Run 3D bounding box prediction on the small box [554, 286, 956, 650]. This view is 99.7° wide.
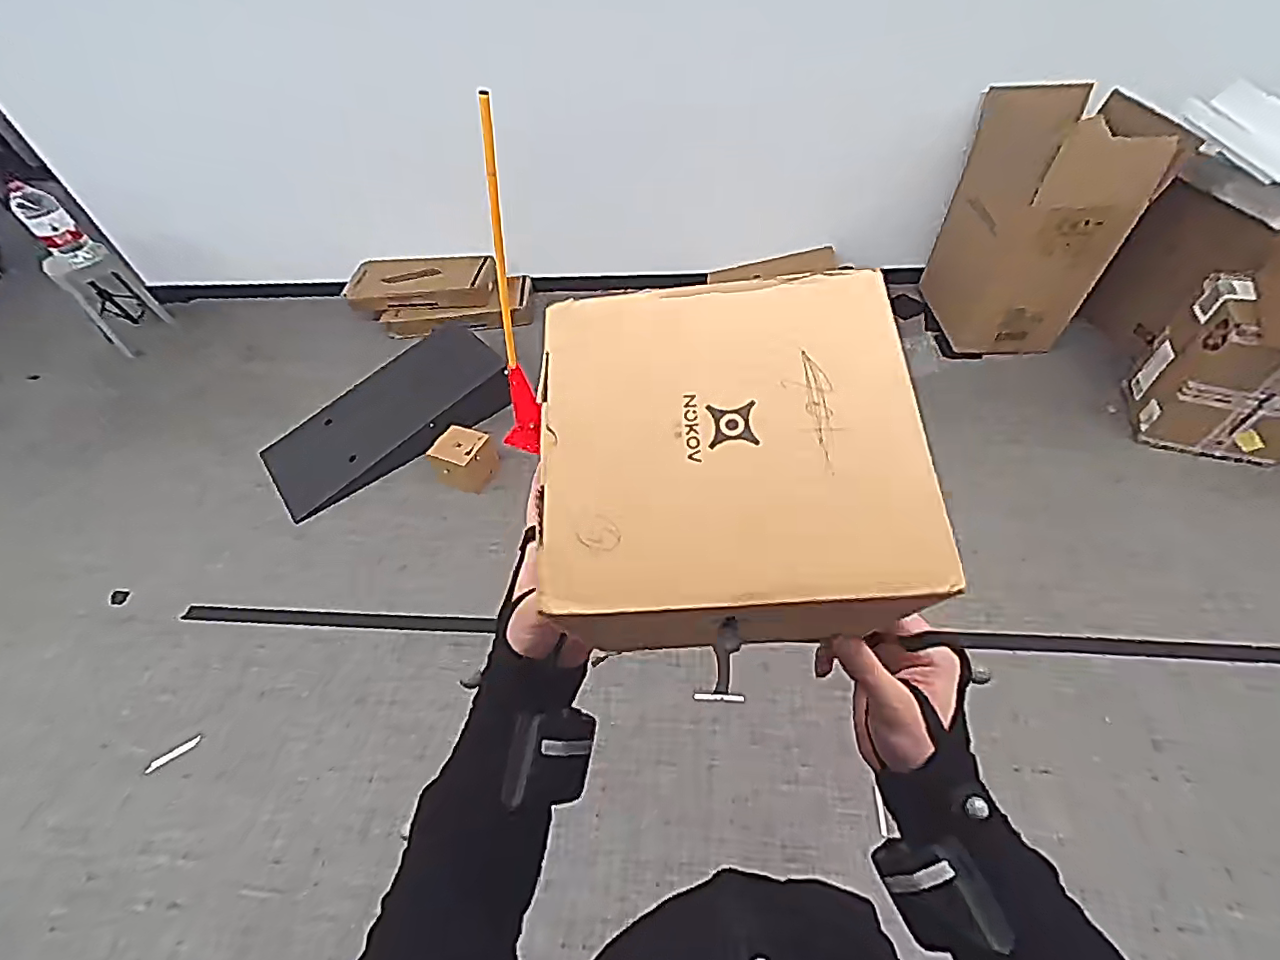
[{"bbox_3d":[0.052,0.010,0.337,0.179,0.176,0.168,-5,67,4],"label":"small box"}]
